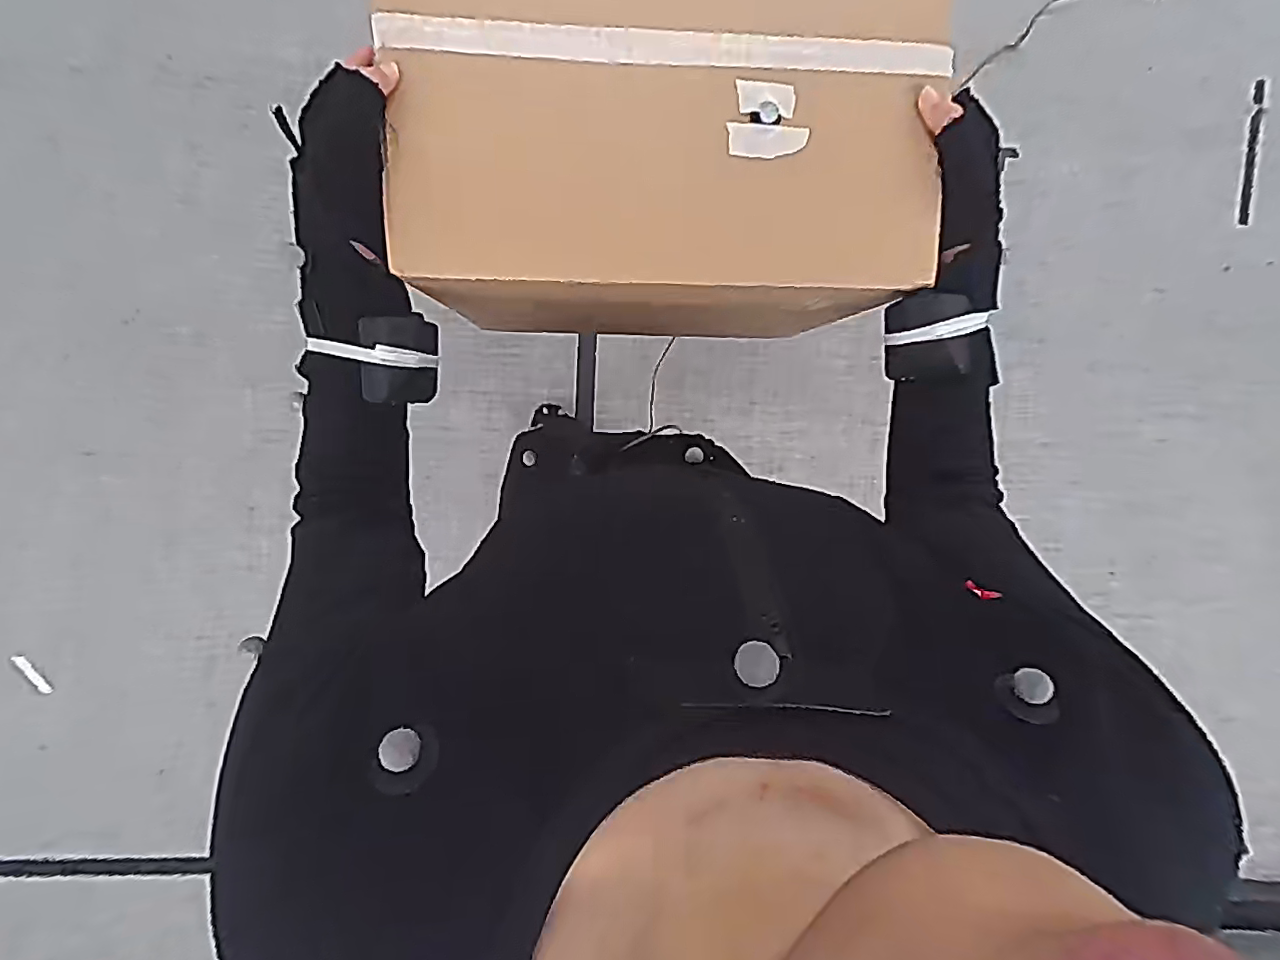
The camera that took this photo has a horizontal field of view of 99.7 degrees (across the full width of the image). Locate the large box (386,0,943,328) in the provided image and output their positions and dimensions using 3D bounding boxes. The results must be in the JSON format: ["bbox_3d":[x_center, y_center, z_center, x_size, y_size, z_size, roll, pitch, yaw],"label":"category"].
[{"bbox_3d":[0.009,-0.328,0.533,0.408,0.320,0.320,0,100,-5],"label":"large box"}]
